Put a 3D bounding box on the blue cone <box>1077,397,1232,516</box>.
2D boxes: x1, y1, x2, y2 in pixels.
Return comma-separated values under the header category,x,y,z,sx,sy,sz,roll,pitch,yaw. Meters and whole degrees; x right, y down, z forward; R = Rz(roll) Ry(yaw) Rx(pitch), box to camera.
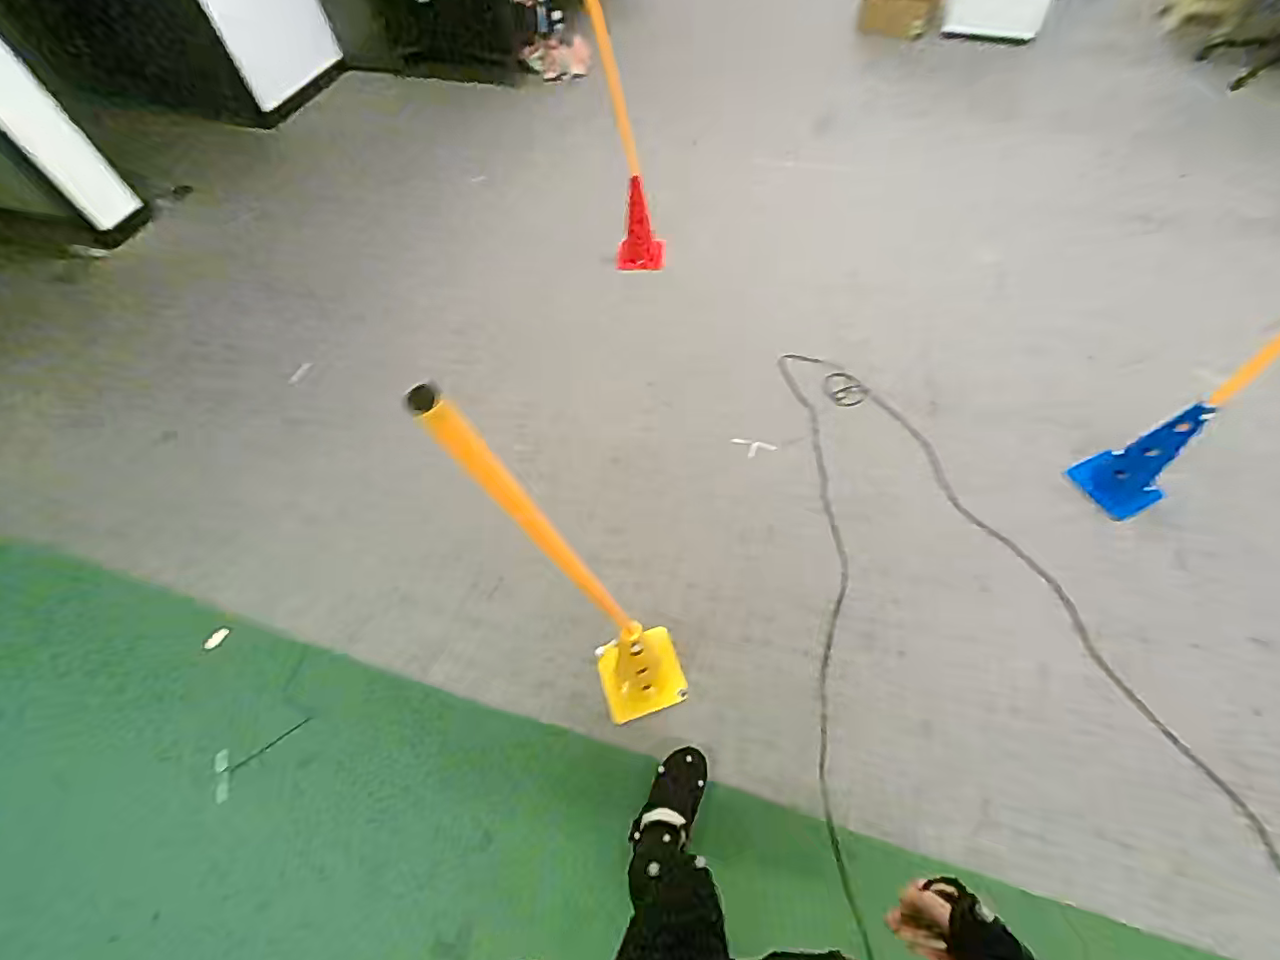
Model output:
category,x,y,z,sx,sy,sz,roll,pitch,yaw
blue cone,1.413,-0.090,1.464,0.193,0.380,0.192,-24,58,-13
